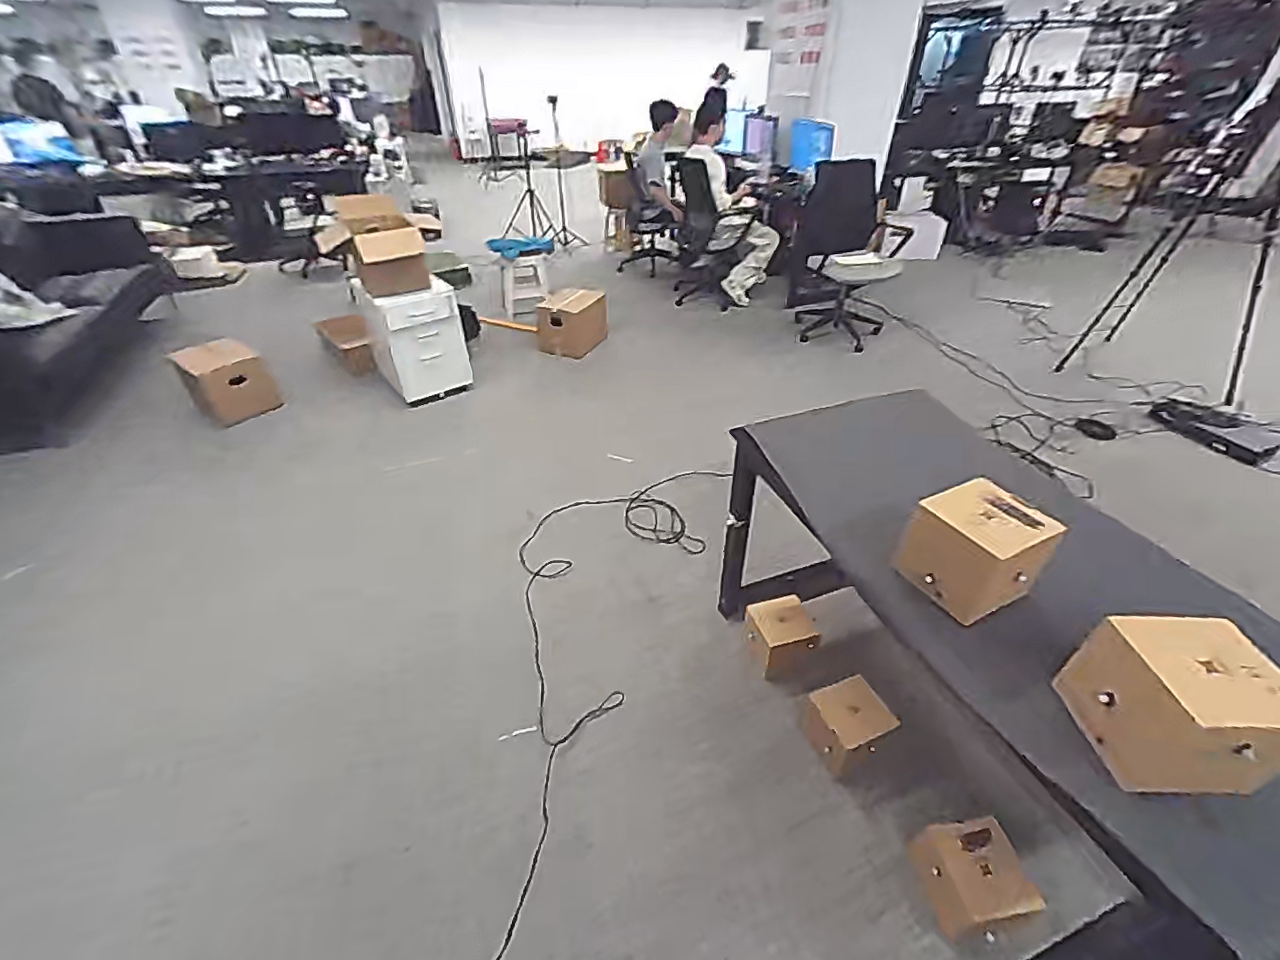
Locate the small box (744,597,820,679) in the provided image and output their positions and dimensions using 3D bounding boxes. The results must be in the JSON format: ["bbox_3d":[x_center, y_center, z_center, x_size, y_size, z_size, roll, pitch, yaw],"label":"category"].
[{"bbox_3d":[0.440,0.502,1.711,0.179,0.176,0.168,-10,37,-13],"label":"small box"}]

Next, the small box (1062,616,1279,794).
[{"bbox_3d":[0.731,0.308,0.742,0.179,0.176,0.168,2,37,-1],"label":"small box"}]

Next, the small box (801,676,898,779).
[{"bbox_3d":[0.560,0.676,1.473,0.179,0.176,0.168,-13,39,-18],"label":"small box"}]

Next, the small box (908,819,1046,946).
[{"bbox_3d":[0.724,0.885,1.191,0.168,0.176,0.179,-5,39,-5],"label":"small box"}]
